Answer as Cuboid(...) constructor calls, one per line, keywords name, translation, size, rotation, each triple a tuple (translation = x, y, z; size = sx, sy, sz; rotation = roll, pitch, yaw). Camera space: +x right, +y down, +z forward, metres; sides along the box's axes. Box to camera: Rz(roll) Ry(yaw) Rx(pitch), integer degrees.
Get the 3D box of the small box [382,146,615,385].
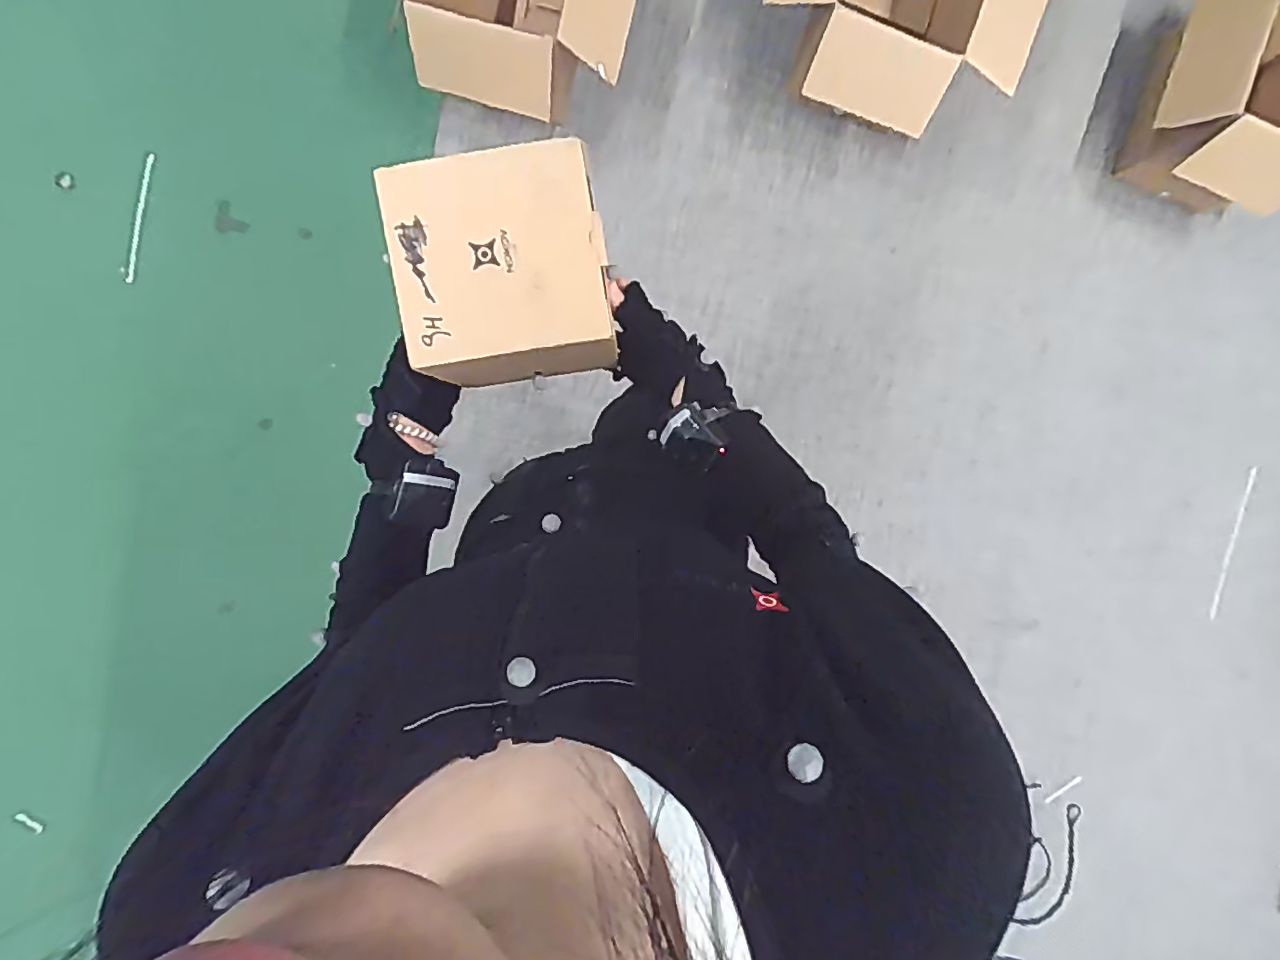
Cuboid(name="small box", translation=(-0.121, -0.193, 0.534), size=(0.179, 0.176, 0.168), rotation=(-8, 93, -1))
